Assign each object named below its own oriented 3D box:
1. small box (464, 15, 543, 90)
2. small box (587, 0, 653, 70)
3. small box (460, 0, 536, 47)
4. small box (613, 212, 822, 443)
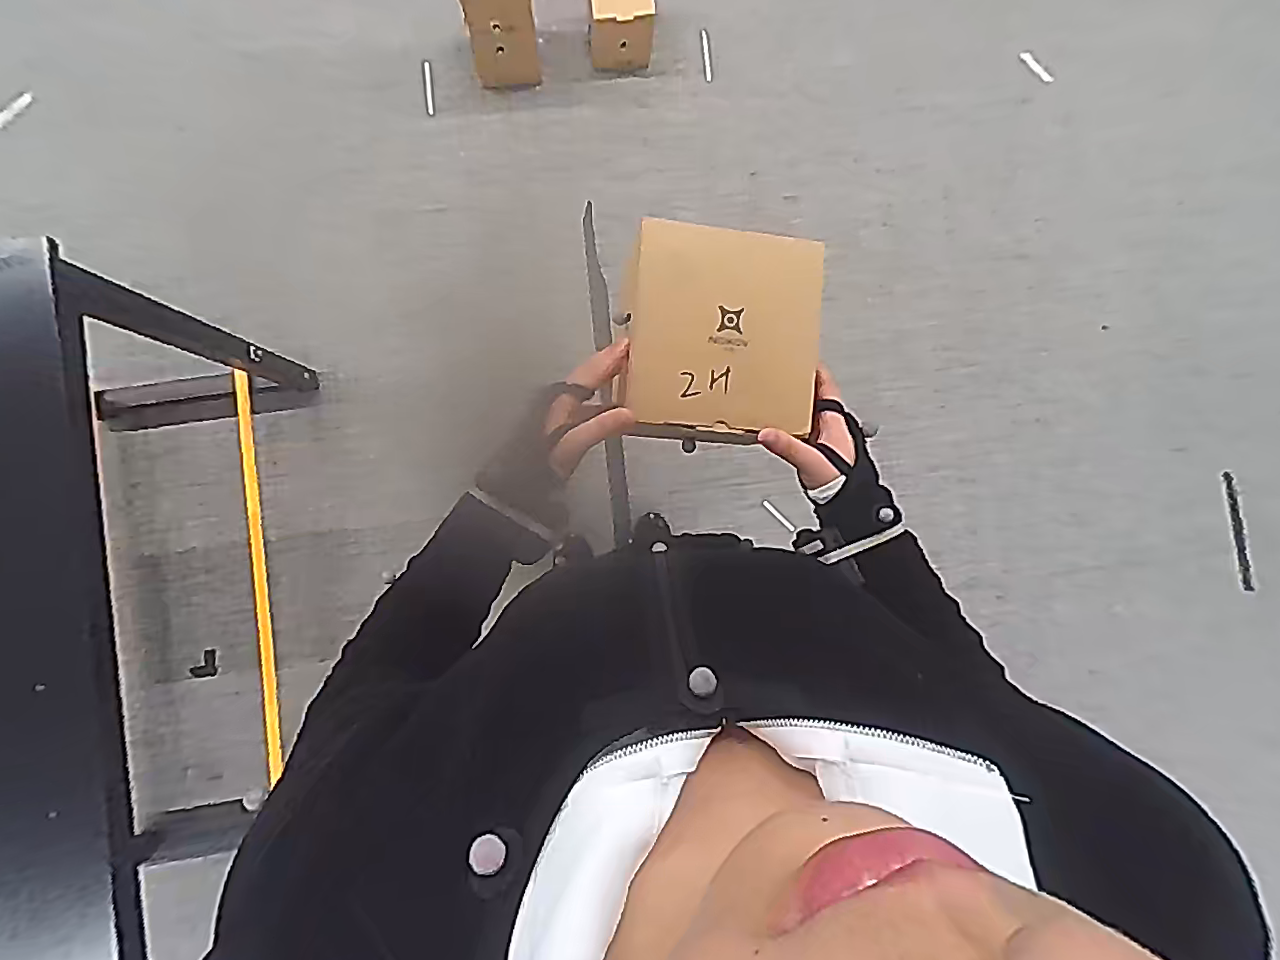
[{"bbox_3d":[-0.369,-1.196,1.462,0.179,0.176,0.168,-9,88,-4],"label":"small box"},{"bbox_3d":[-0.058,-1.269,1.486,0.168,0.176,0.179,-7,88,-4],"label":"small box"},{"bbox_3d":[-0.355,-1.200,1.300,0.168,0.176,0.179,-11,90,-2],"label":"small box"},{"bbox_3d":[0.065,-0.135,0.546,0.168,0.176,0.179,4,91,-7],"label":"small box"}]
